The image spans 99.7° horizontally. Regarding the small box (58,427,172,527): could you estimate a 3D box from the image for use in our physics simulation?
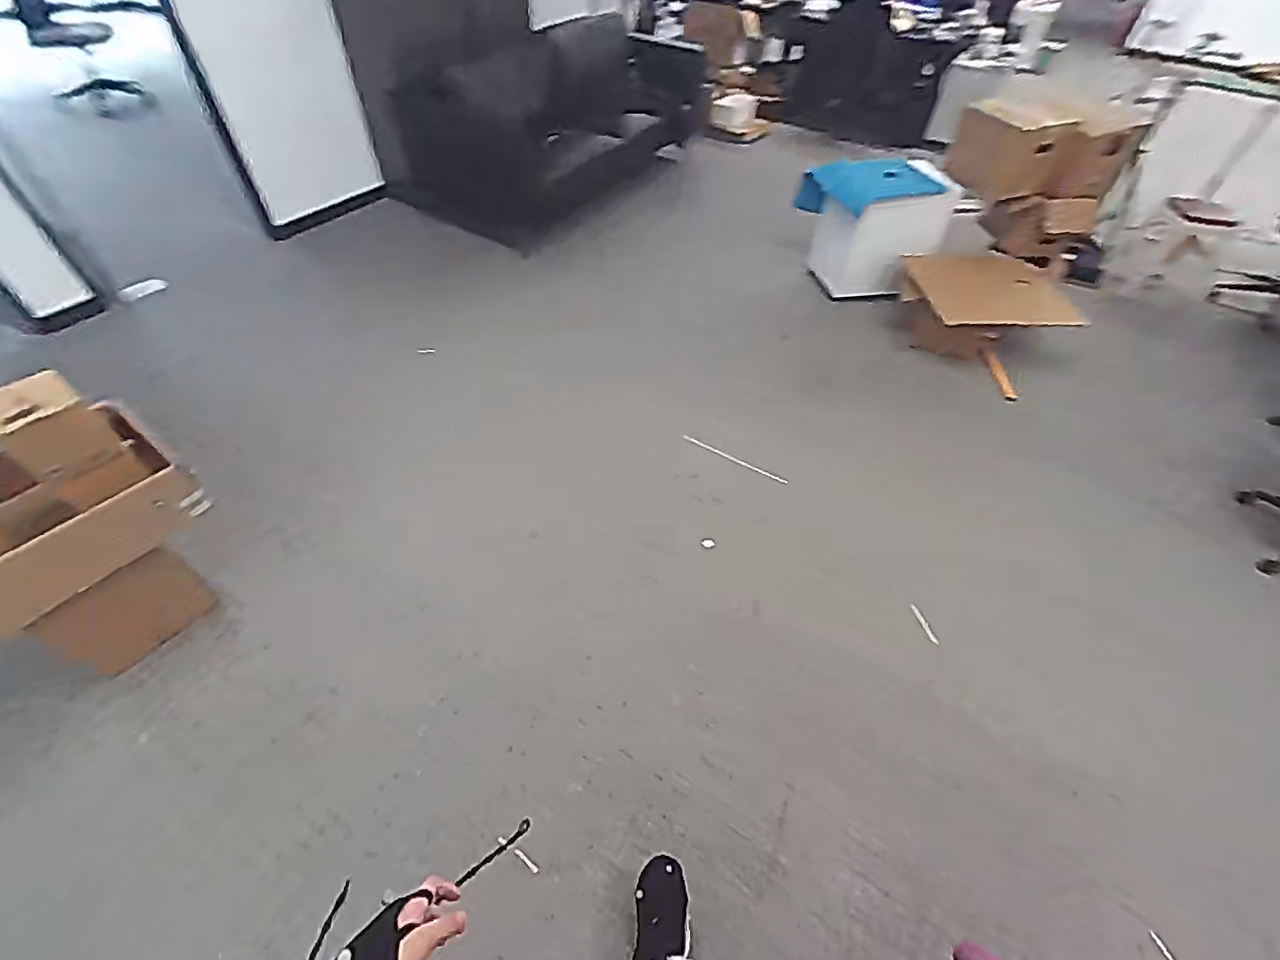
[{"bbox_3d":[-1.408,-0.007,1.431,0.179,0.176,0.168,32,55,21],"label":"small box"}]

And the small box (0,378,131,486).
[{"bbox_3d":[-1.396,-0.109,1.303,0.179,0.176,0.168,33,55,23],"label":"small box"}]
